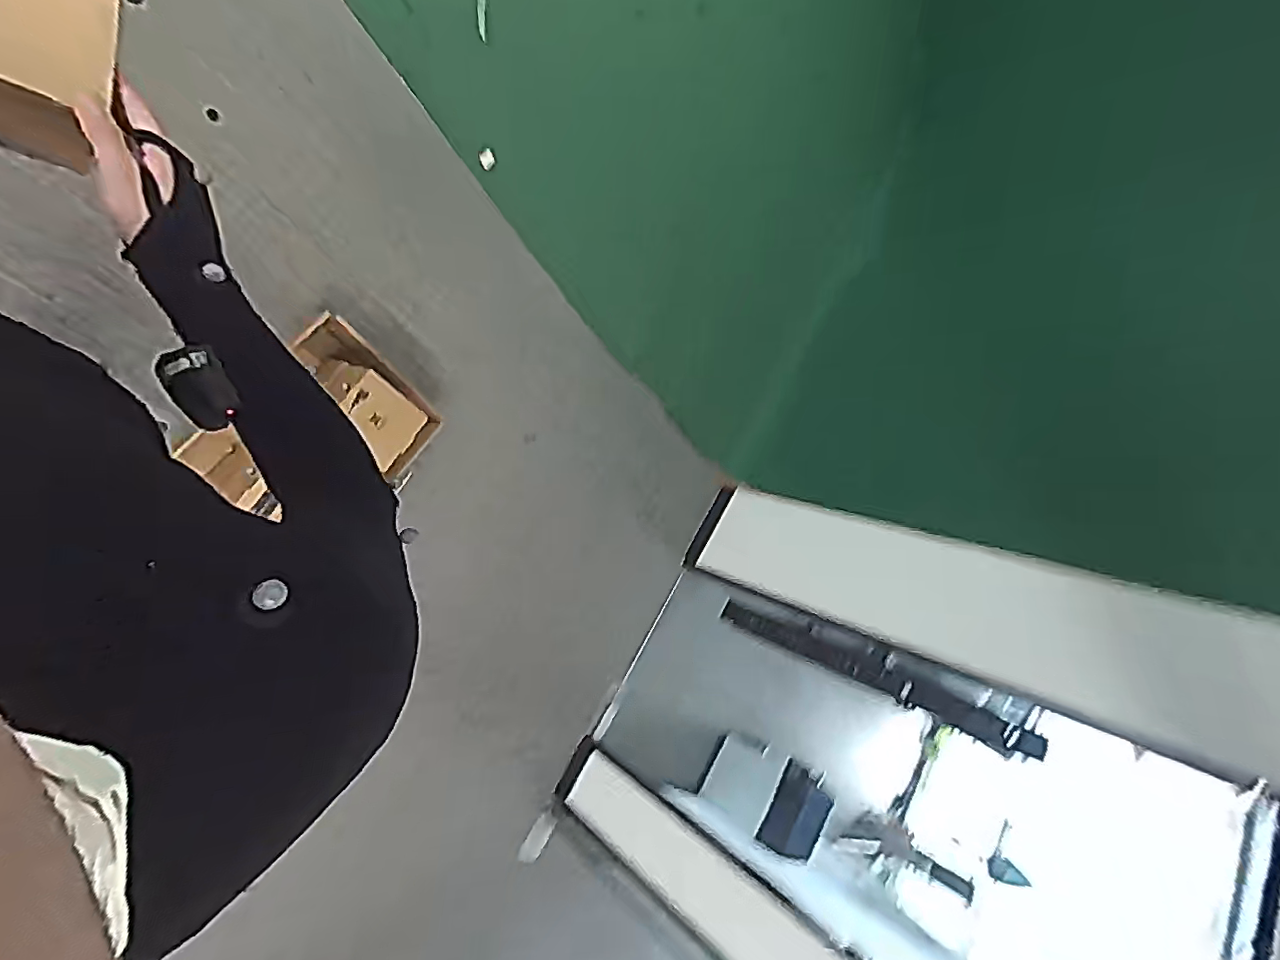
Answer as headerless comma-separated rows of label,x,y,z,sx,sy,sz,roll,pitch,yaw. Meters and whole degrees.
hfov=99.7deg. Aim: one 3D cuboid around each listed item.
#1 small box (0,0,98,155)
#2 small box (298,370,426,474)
small box,-0.521,-0.380,0.394,0.168,0.176,0.179,3,95,-50
small box,-0.648,-0.143,1.263,0.168,0.176,0.179,-58,136,-19
